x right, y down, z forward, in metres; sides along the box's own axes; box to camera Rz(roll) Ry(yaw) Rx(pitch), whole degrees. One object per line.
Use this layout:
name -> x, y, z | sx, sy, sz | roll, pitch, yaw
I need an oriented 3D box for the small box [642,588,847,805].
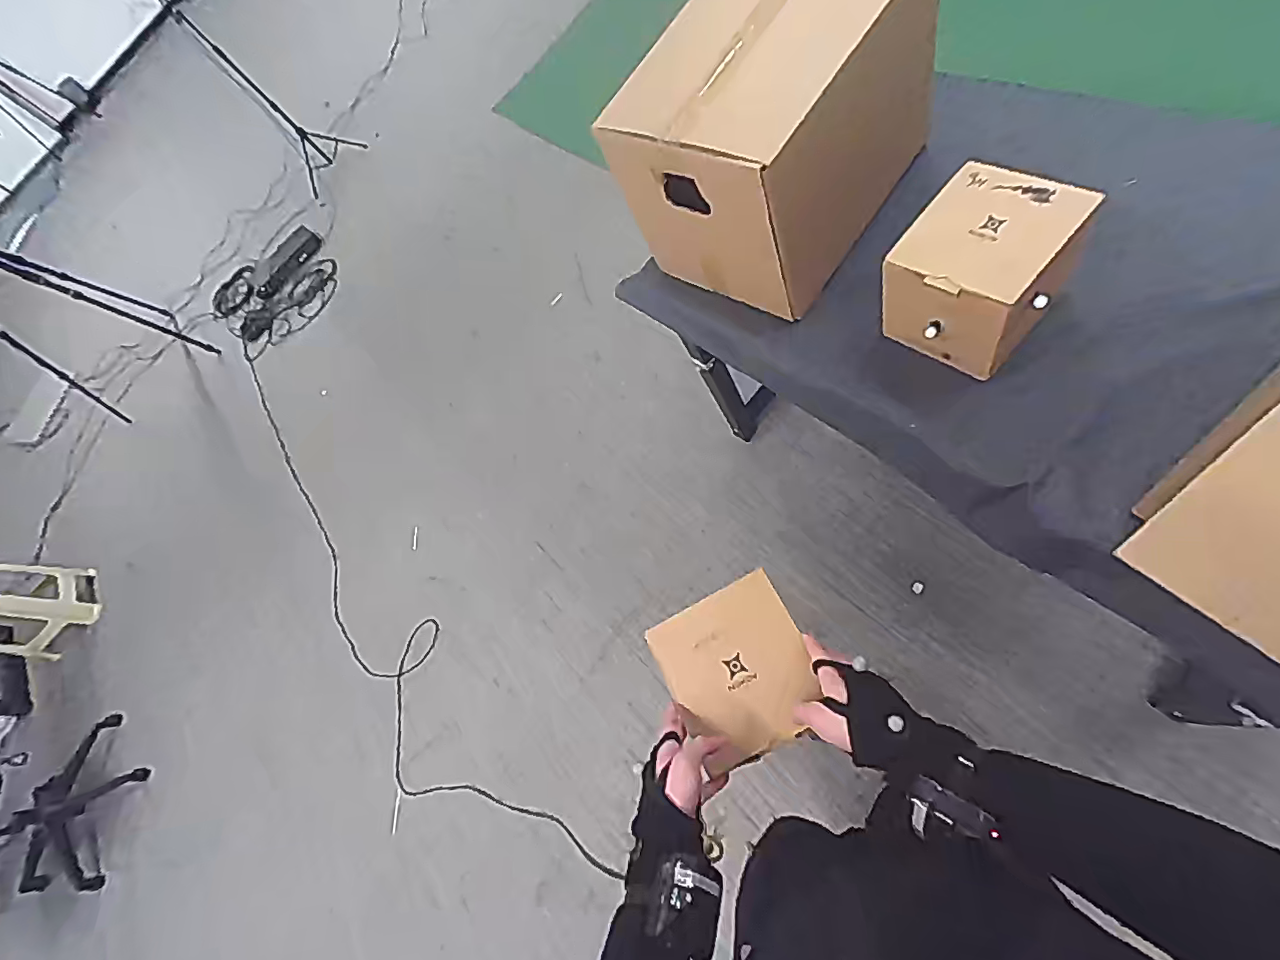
small box -> 0.131, 0.254, 0.659 | 0.168, 0.176, 0.179 | -31, 64, 6
